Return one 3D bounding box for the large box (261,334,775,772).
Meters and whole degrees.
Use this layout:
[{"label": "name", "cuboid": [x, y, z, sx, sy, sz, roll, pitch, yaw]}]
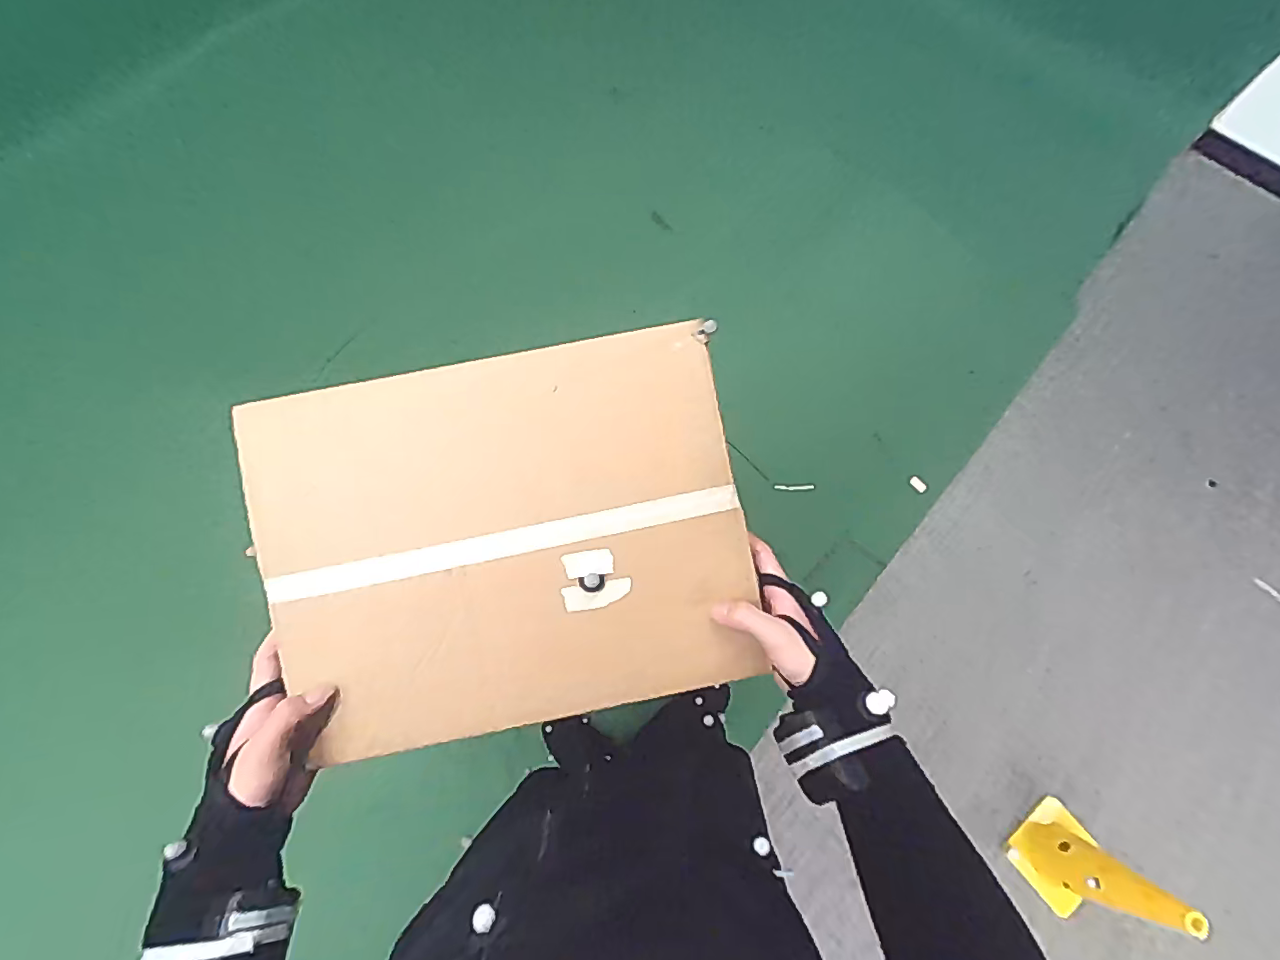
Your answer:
[{"label": "large box", "cuboid": [-0.111, 0.064, 0.616, 0.408, 0.320, 0.320, -11, 90, -3]}]
